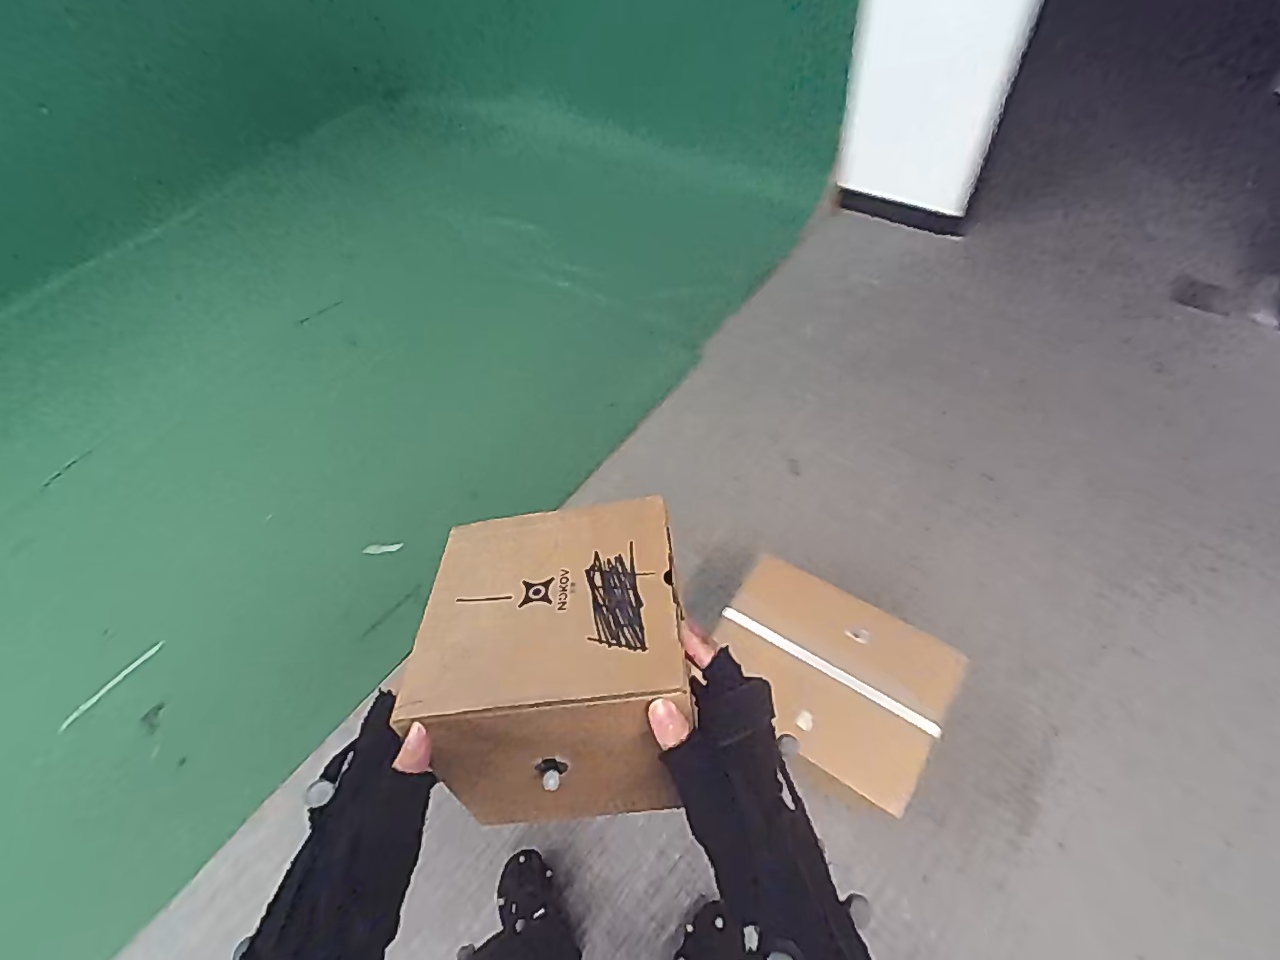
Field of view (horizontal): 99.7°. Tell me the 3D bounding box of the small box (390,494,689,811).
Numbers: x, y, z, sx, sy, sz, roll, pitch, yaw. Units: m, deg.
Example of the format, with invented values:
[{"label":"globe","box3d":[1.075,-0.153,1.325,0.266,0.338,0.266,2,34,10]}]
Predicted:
[{"label":"small box","box3d":[-0.058,0.137,0.431,0.179,0.176,0.168,-10,39,3]}]
